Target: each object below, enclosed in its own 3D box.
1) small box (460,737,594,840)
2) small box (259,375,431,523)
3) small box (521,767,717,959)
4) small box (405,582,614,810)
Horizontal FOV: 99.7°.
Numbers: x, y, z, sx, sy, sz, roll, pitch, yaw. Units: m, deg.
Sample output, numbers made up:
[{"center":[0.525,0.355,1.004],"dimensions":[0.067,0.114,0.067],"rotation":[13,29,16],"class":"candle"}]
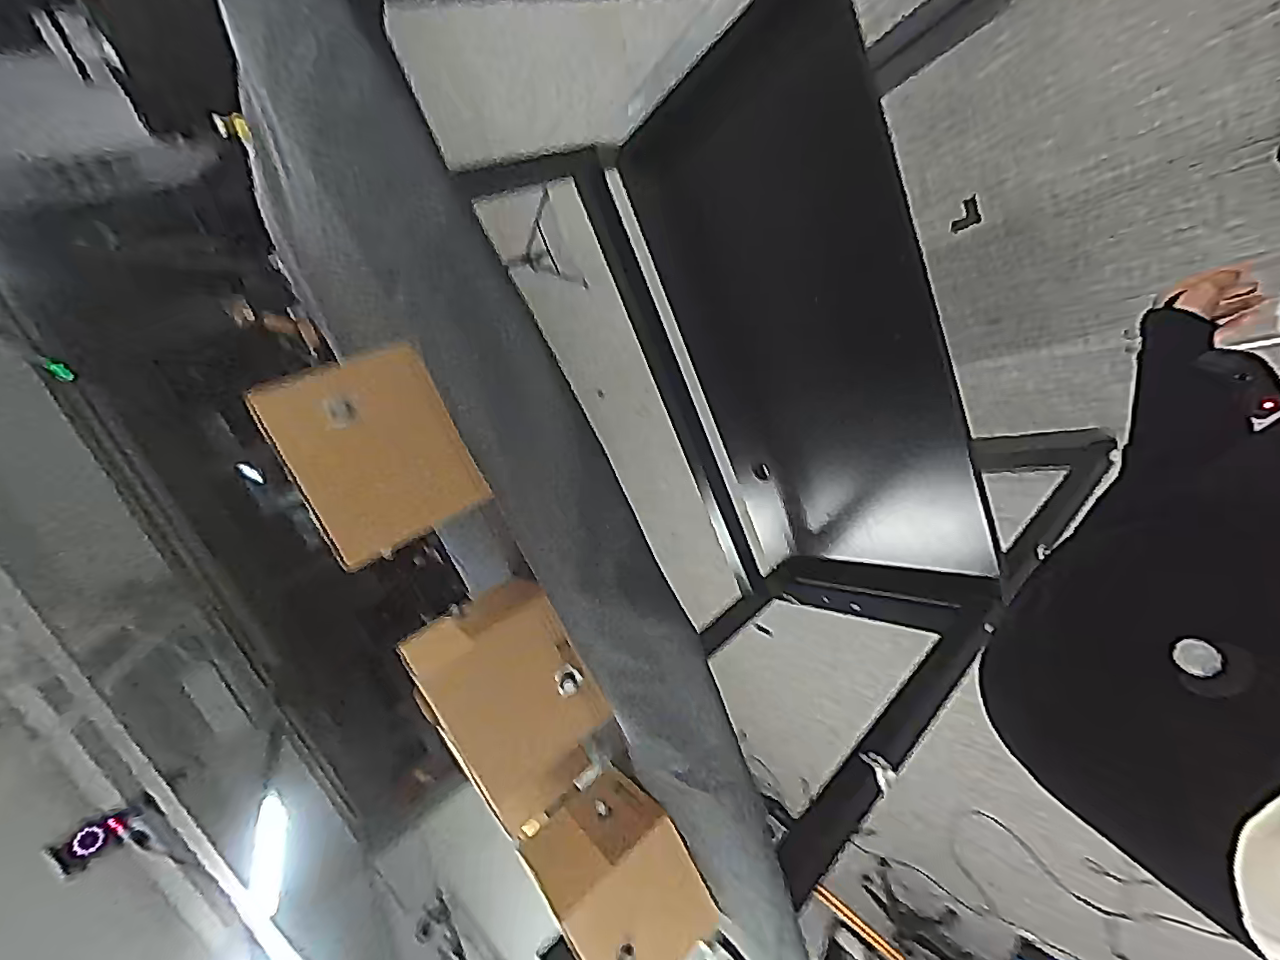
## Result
[{"center":[-0.211,0.467,0.951],"dimensions":[0.168,0.176,0.179],"rotation":[-7,111,59],"class":"small box"},{"center":[-0.448,-0.047,0.834],"dimensions":[0.179,0.176,0.168],"rotation":[-4,114,58],"class":"small box"},{"center":[-0.026,0.536,0.724],"dimensions":[0.168,0.176,0.179],"rotation":[-9,109,60],"class":"small box"},{"center":[-0.158,0.239,0.654],"dimensions":[0.179,0.176,0.168],"rotation":[-9,110,61],"class":"small box"}]
